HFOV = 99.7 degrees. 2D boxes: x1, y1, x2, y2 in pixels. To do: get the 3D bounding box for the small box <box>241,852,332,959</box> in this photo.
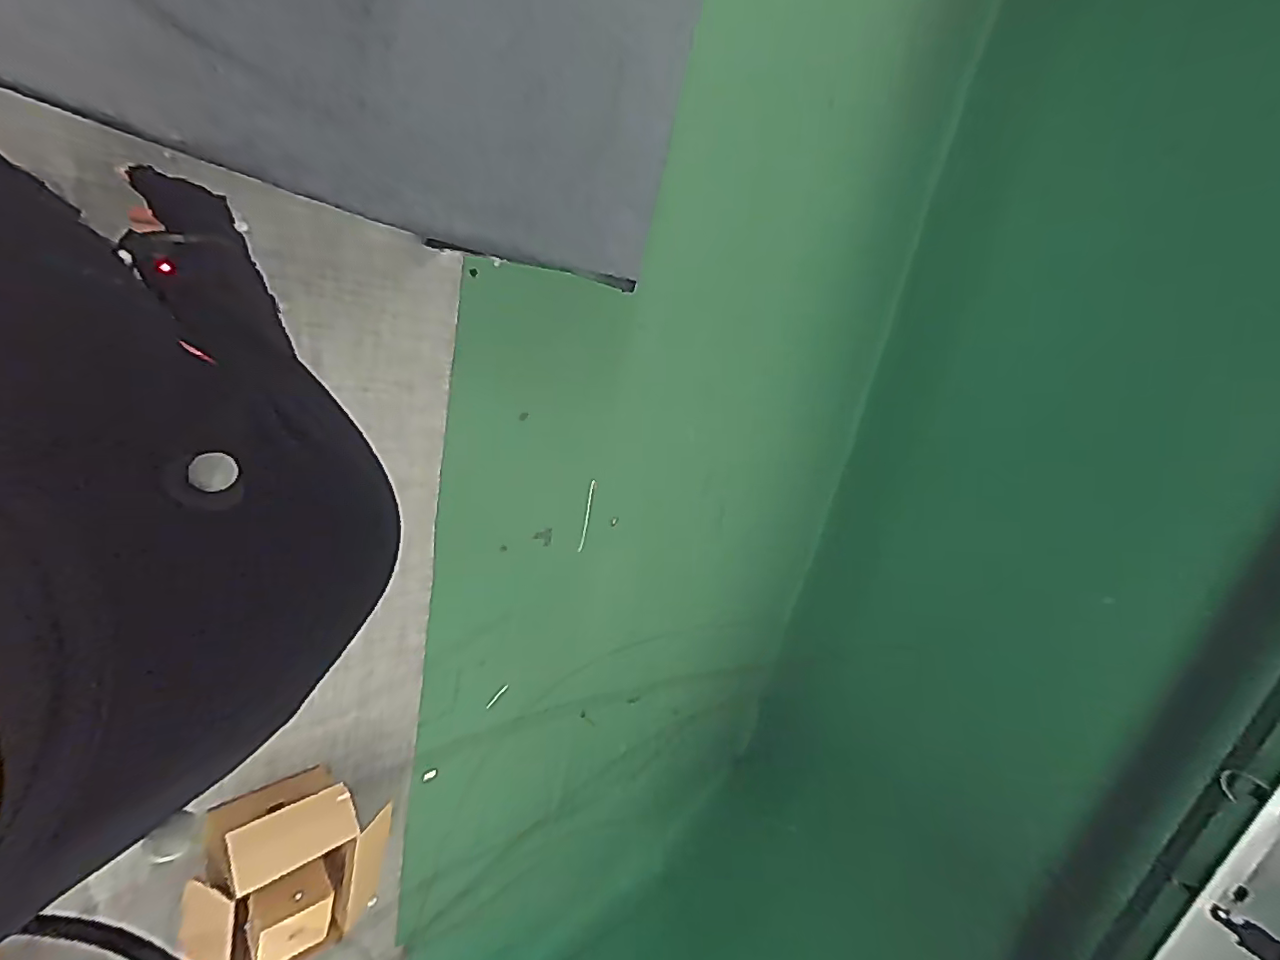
[{"bbox_3d":[-0.991,1.203,1.511,0.179,0.176,0.168,-1,111,-48],"label":"small box"}]
